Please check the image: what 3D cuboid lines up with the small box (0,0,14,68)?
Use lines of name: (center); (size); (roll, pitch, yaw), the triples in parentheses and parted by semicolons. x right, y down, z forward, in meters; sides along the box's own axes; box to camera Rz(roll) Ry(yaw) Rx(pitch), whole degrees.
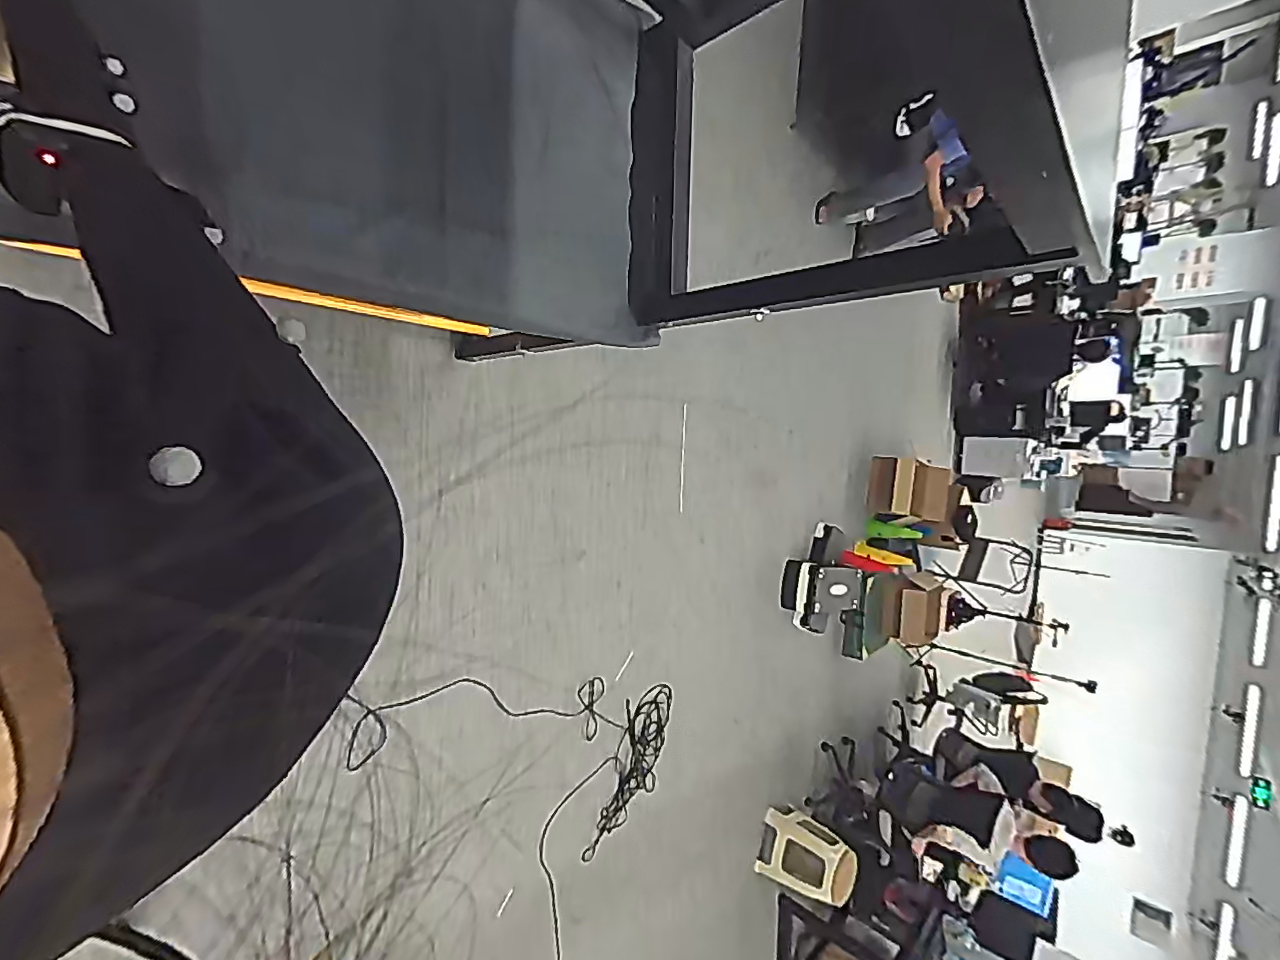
small box: (-0.571, -0.443, 0.376); (0.168, 0.176, 0.179); (-4, 97, -47)
